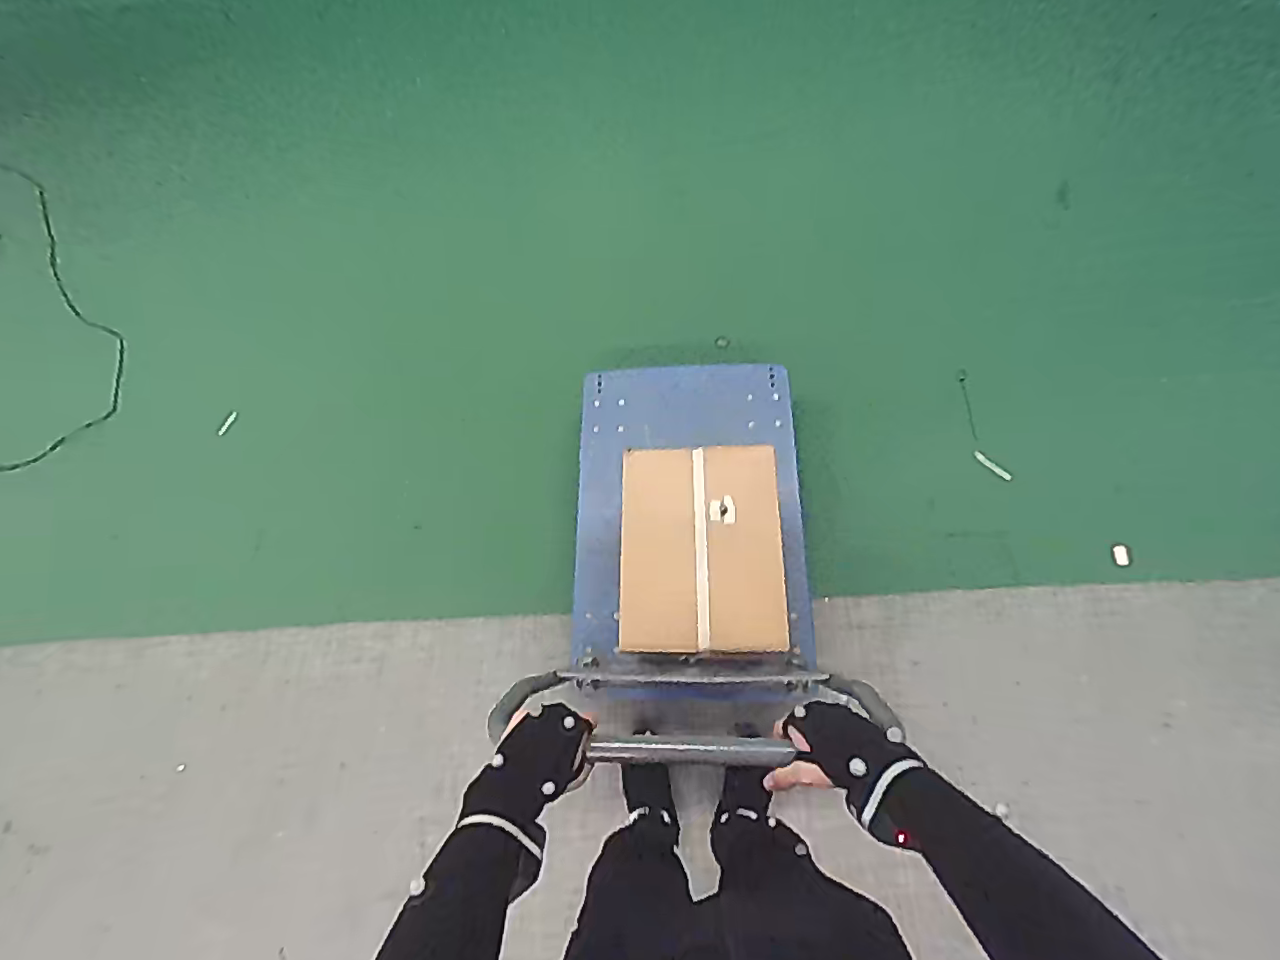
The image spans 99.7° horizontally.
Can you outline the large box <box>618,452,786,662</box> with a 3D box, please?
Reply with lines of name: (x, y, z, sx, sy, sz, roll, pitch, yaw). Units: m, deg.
large box: (0.127, 0.187, 1.198, 0.320, 0.320, 0.408, -2, 69, 5)
